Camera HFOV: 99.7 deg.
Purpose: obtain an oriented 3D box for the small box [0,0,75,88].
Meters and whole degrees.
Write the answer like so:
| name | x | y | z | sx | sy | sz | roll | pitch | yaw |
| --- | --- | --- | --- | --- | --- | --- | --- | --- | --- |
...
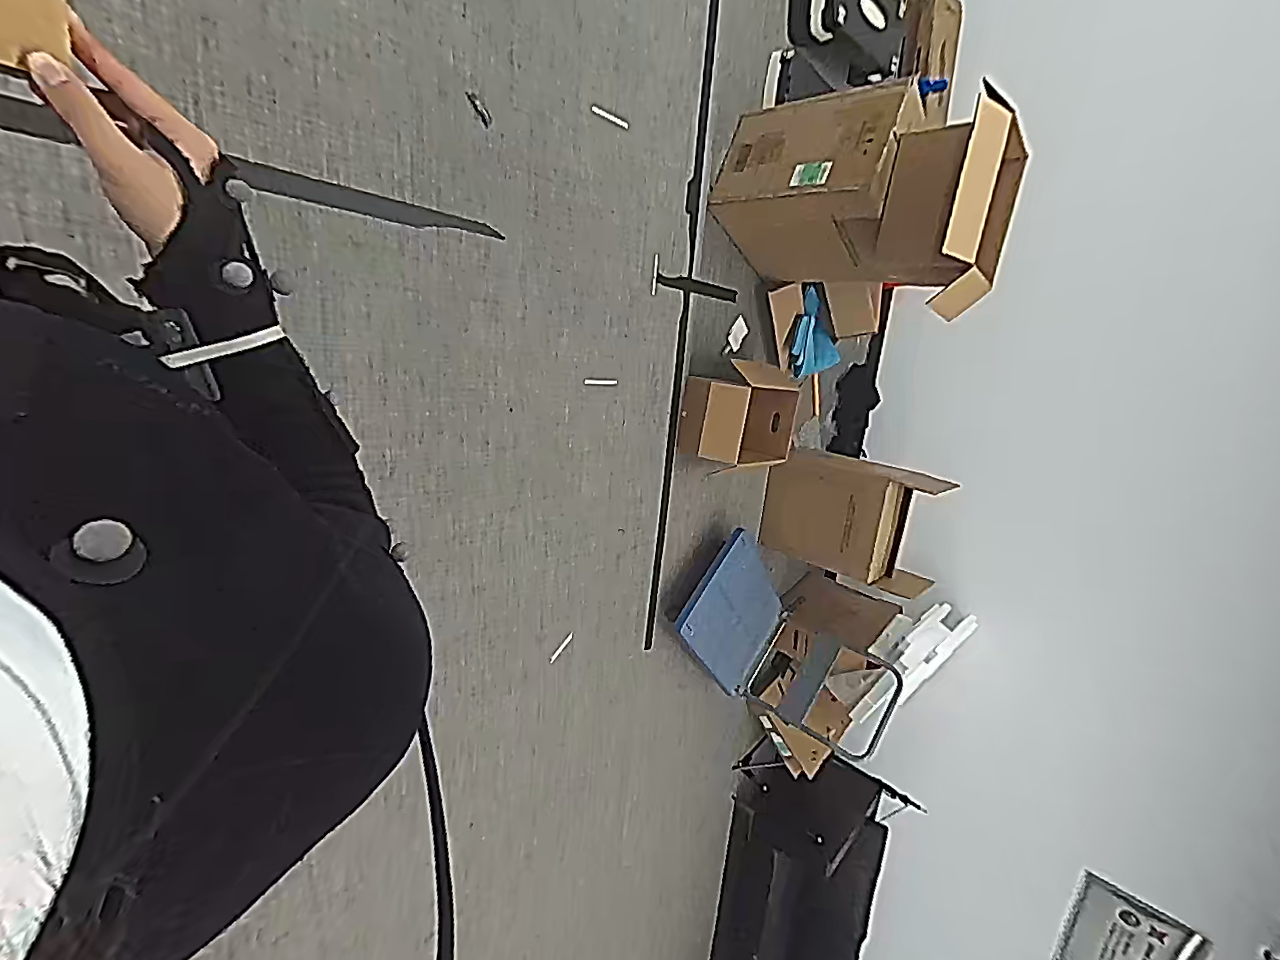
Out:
| name | x | y | z | sx | sy | sz | roll | pitch | yaw |
| --- | --- | --- | --- | --- | --- | --- | --- | --- | --- |
| small box | -0.397 | -0.314 | 0.247 | 0.179 | 0.176 | 0.168 | -6 | 120 | -48 |
